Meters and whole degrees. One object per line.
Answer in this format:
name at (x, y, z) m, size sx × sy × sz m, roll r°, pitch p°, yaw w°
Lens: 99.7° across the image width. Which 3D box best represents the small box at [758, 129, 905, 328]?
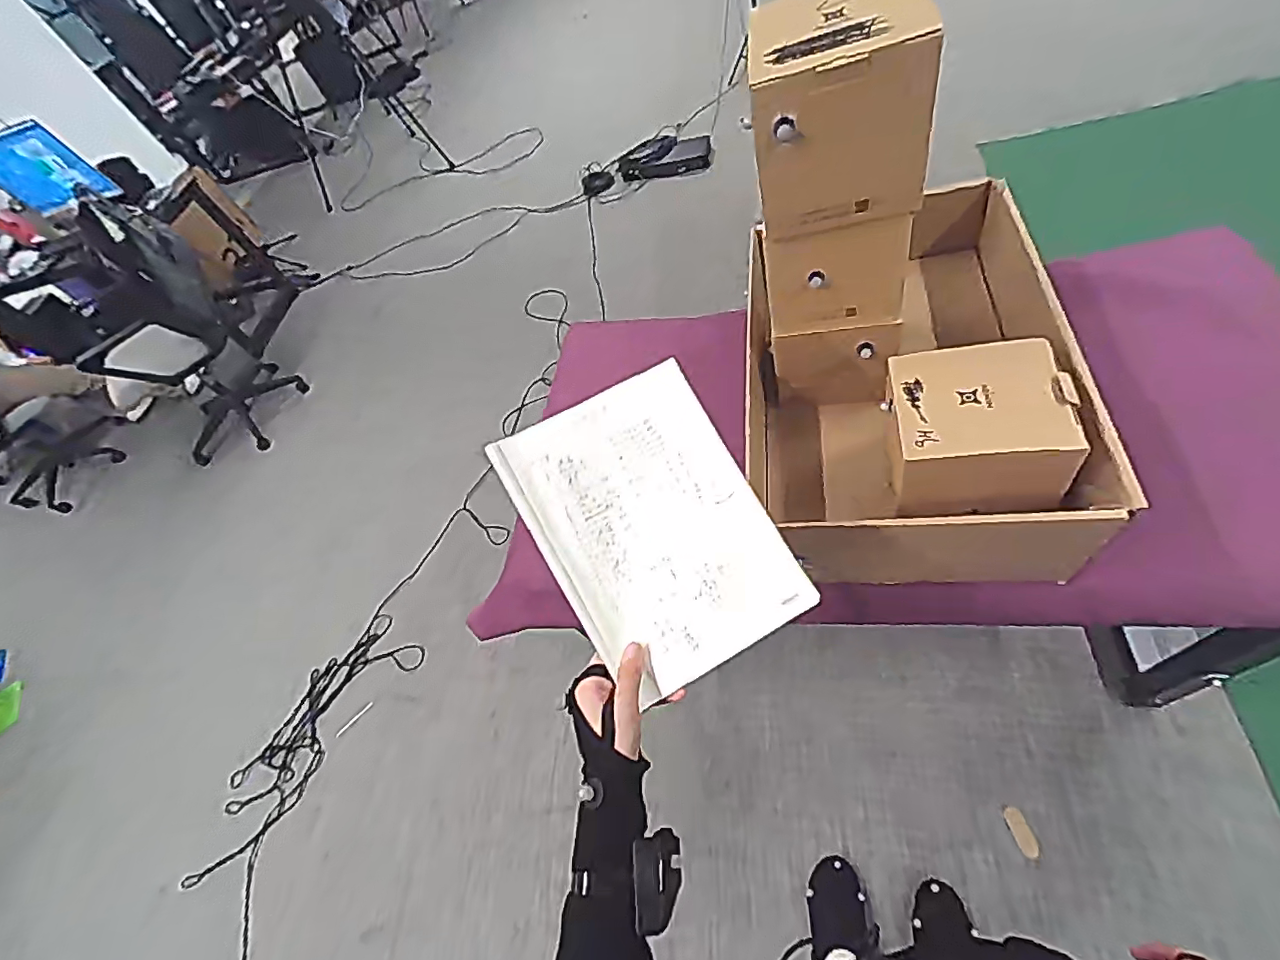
small box at (0.254, -0.323, 0.728) m, size 0.168 × 0.176 × 0.179 m, roll -2°, pitch 58°, yaw 19°
